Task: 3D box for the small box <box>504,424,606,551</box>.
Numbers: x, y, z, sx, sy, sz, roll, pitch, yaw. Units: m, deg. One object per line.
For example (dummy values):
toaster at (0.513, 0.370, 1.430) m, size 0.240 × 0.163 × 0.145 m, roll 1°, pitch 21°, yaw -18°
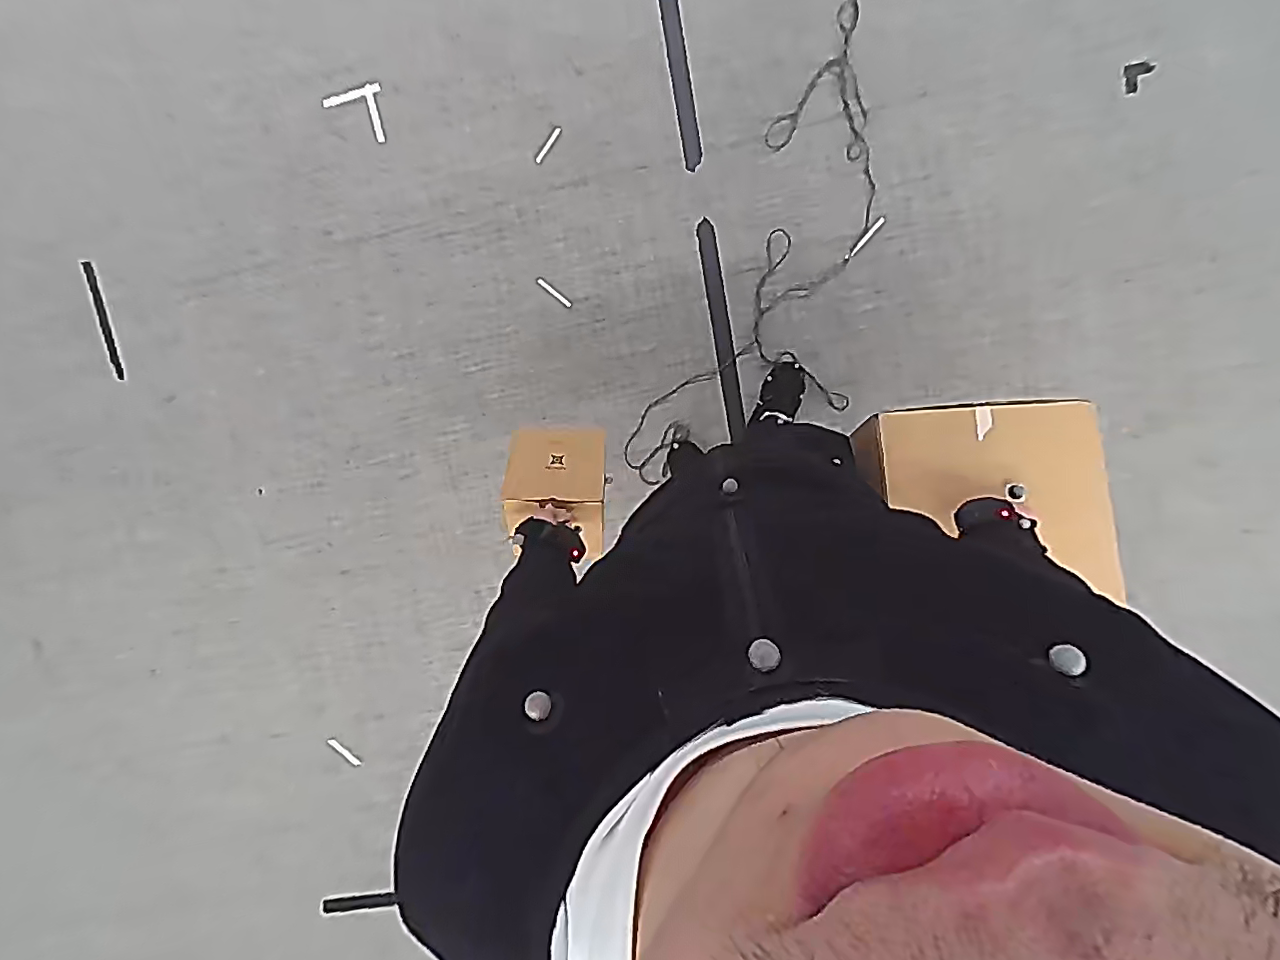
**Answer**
small box at (-0.149, 0.017, 1.004) m, size 0.168 × 0.179 × 0.176 m, roll 2°, pitch 140°, yaw -5°
